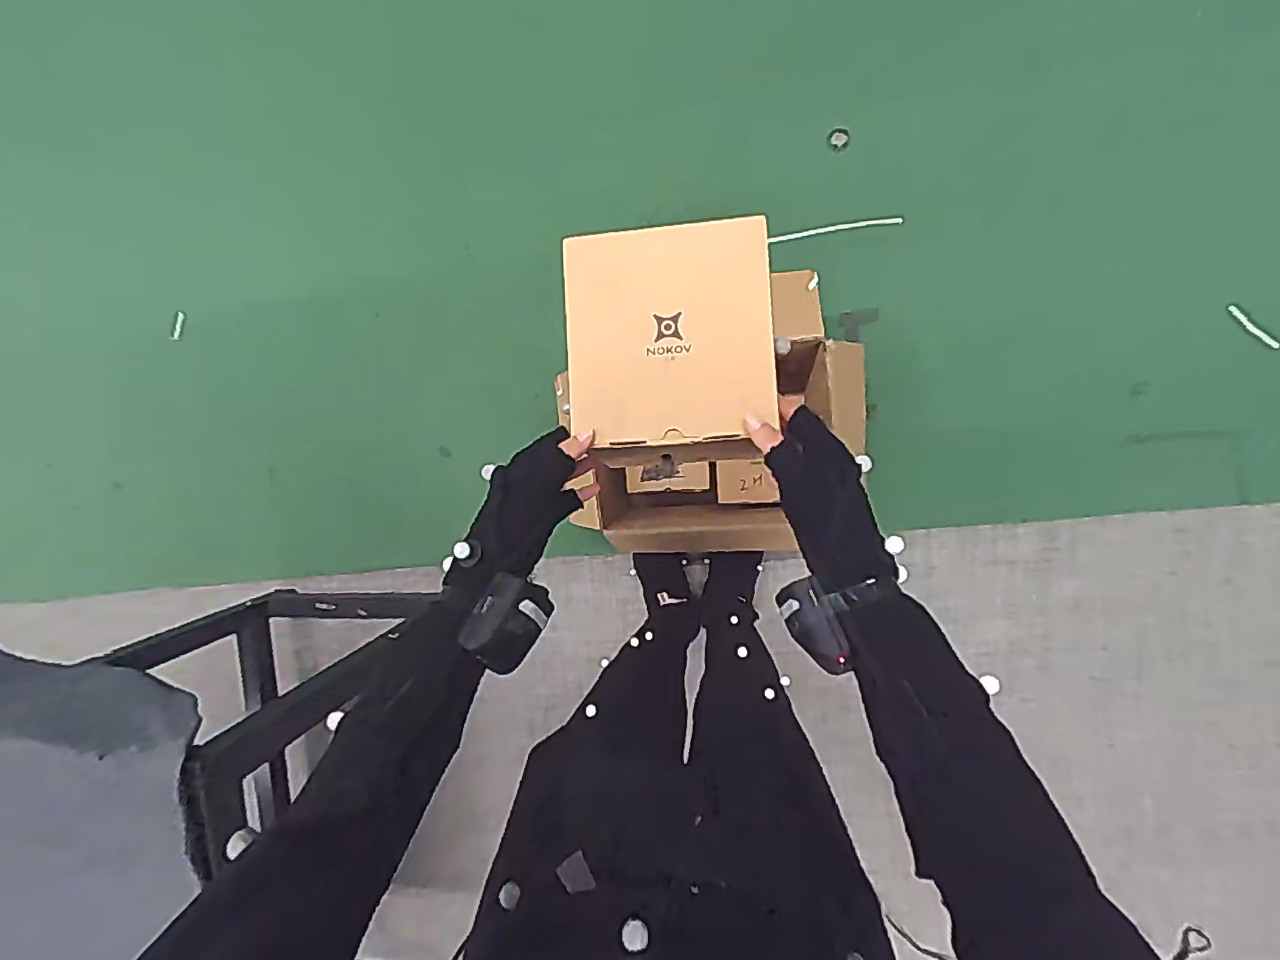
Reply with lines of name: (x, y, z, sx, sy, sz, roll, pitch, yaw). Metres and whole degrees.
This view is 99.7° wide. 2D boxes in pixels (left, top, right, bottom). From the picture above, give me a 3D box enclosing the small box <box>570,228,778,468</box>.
small box: (0.033, -0.109, 0.517, 0.168, 0.176, 0.179, -3, 87, 7)
